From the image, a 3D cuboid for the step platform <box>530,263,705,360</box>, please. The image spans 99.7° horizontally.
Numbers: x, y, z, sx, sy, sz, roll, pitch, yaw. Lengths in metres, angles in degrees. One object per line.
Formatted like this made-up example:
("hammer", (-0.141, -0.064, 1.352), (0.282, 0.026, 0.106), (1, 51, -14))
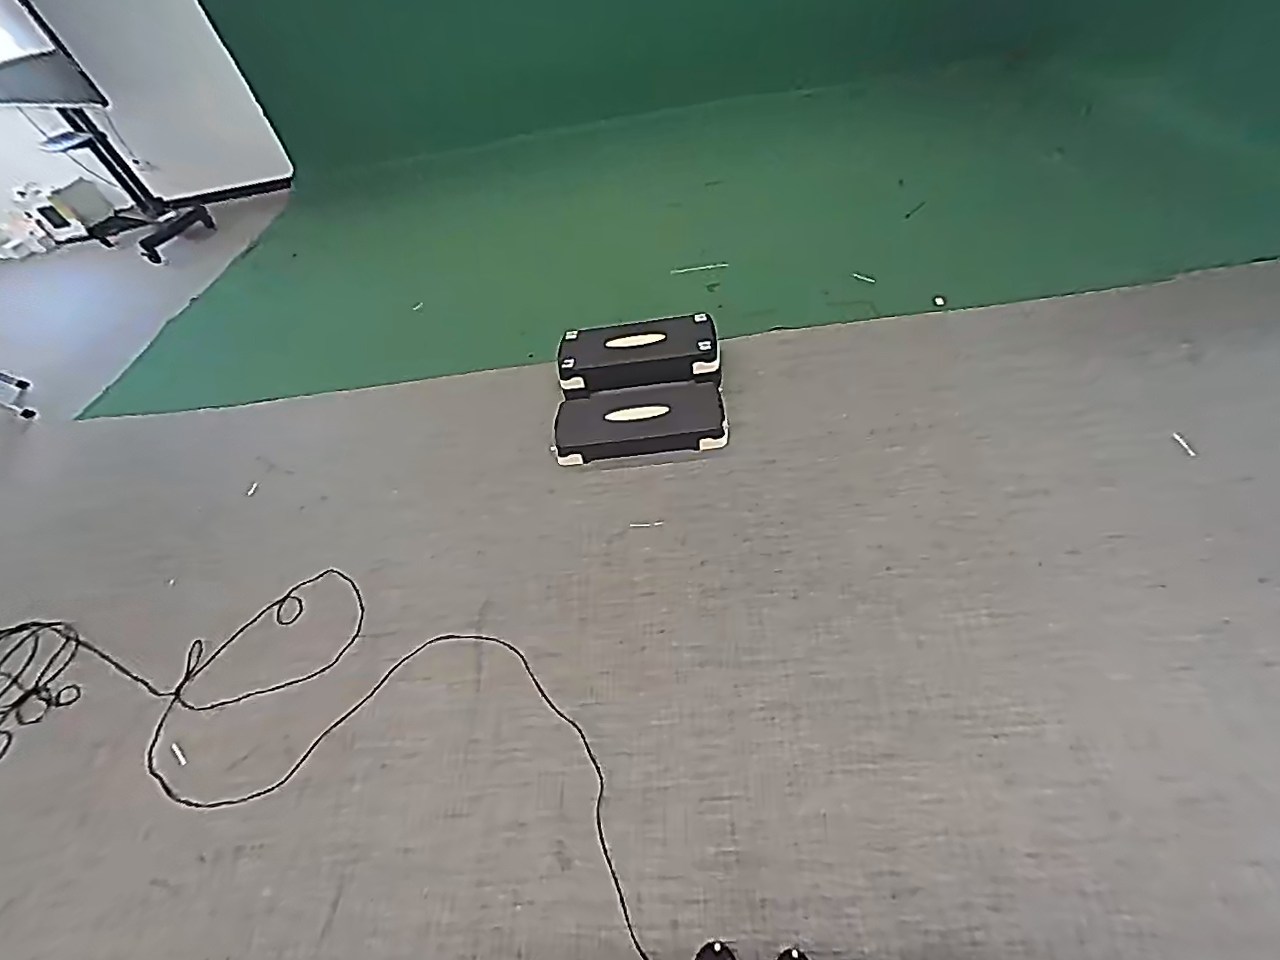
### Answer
("step platform", (-0.083, -0.674, 2.172), (0.684, 0.204, 0.286), (-6, 50, 7))
